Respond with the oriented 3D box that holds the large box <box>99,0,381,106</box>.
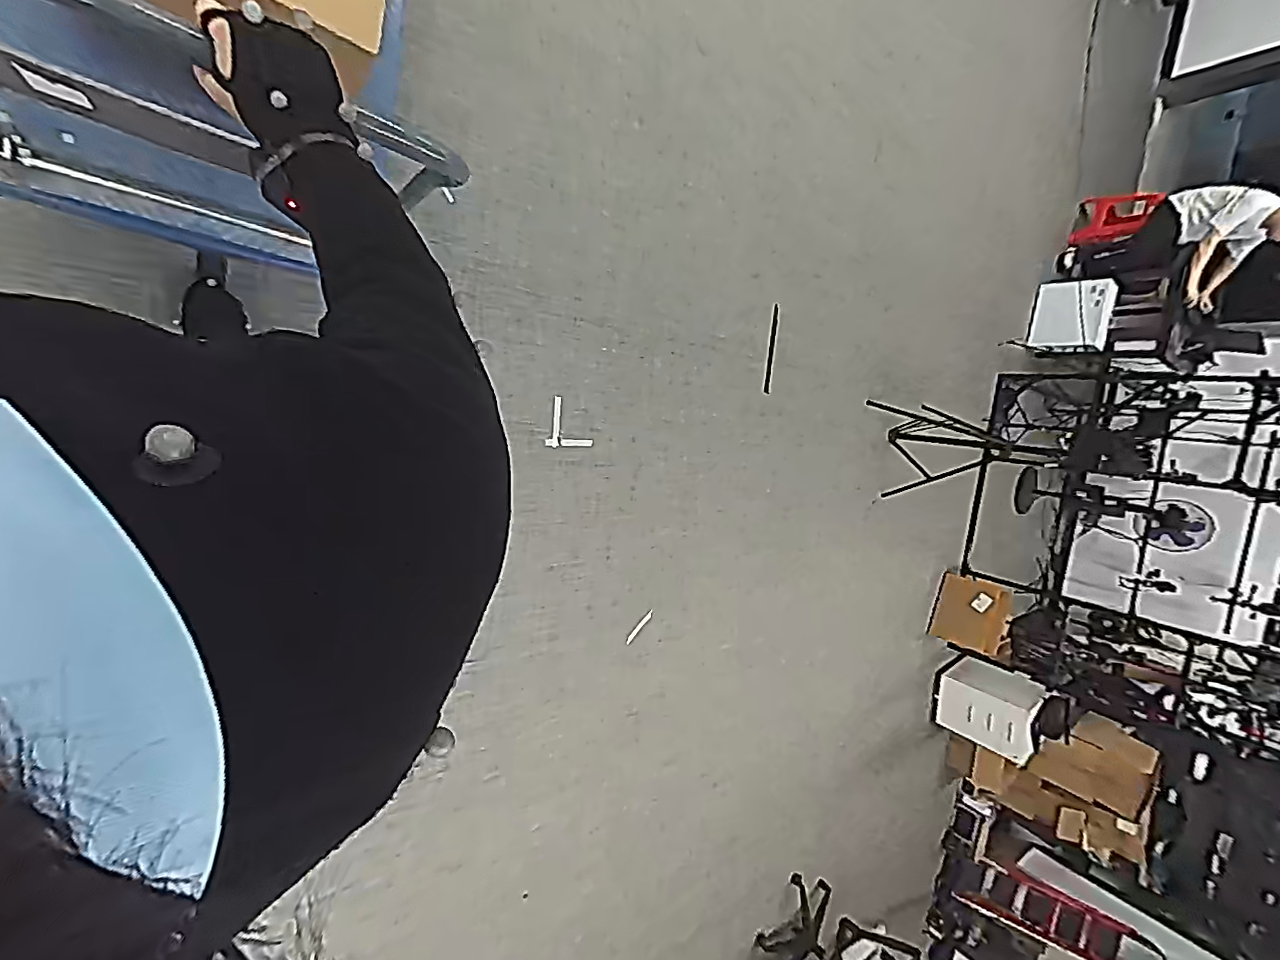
[{"bbox_3d":[-0.628,-0.868,0.820,0.408,0.320,0.320,7,95,-39],"label":"large box"}]
